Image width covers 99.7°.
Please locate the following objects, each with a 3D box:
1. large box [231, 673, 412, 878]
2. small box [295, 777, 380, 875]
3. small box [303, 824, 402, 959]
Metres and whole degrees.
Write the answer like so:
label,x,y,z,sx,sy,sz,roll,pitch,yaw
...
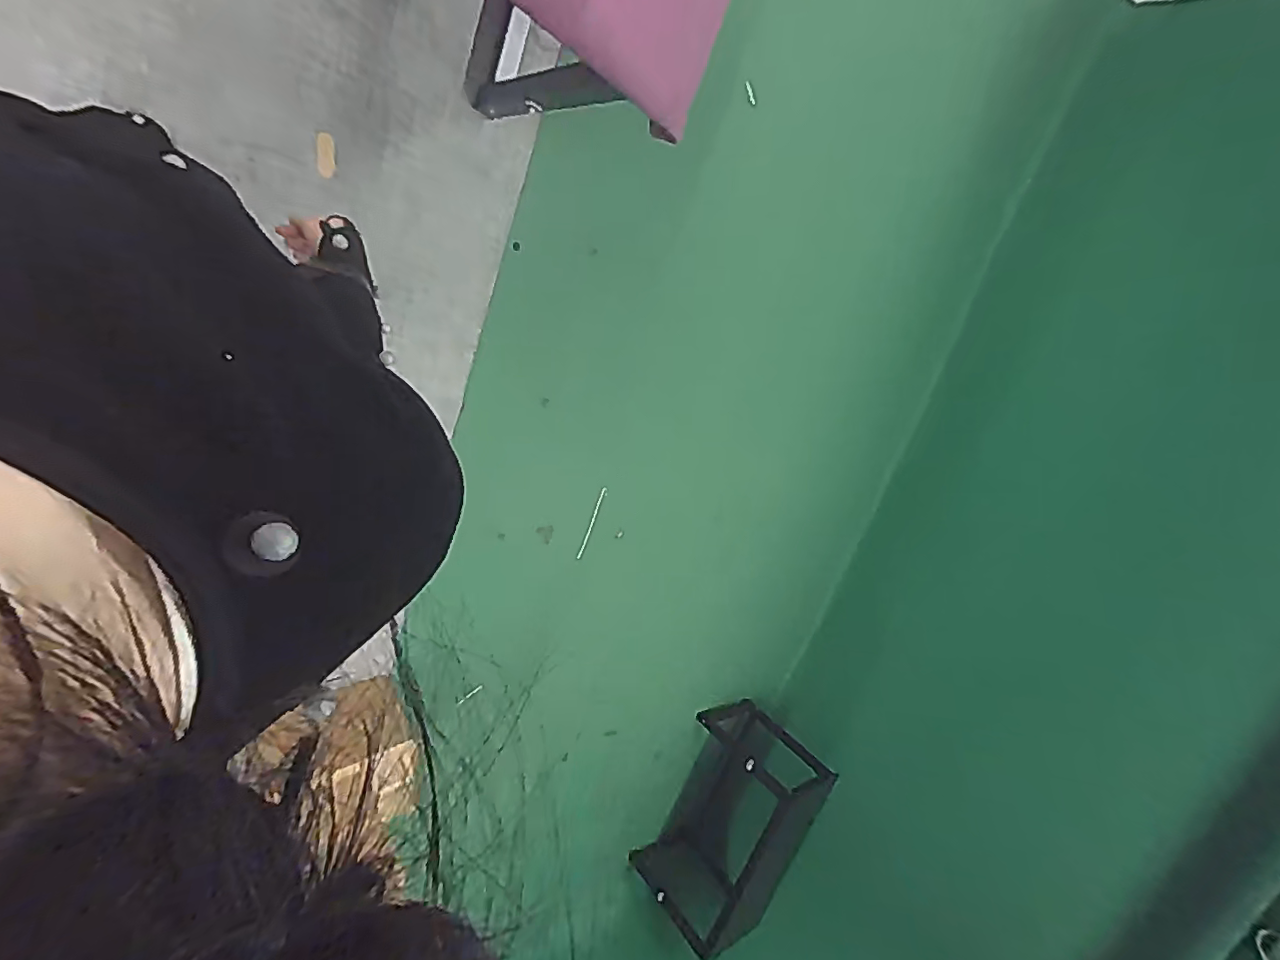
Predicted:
label,x,y,z,sx,sy,sz,roll,pitch,yaw
large box,-0.956,0.866,1.644,0.408,0.320,0.320,-11,122,-41
small box,-0.815,0.937,1.452,0.168,0.176,0.179,-3,115,-41
small box,-0.717,1.007,1.343,0.179,0.176,0.168,-2,114,-42
